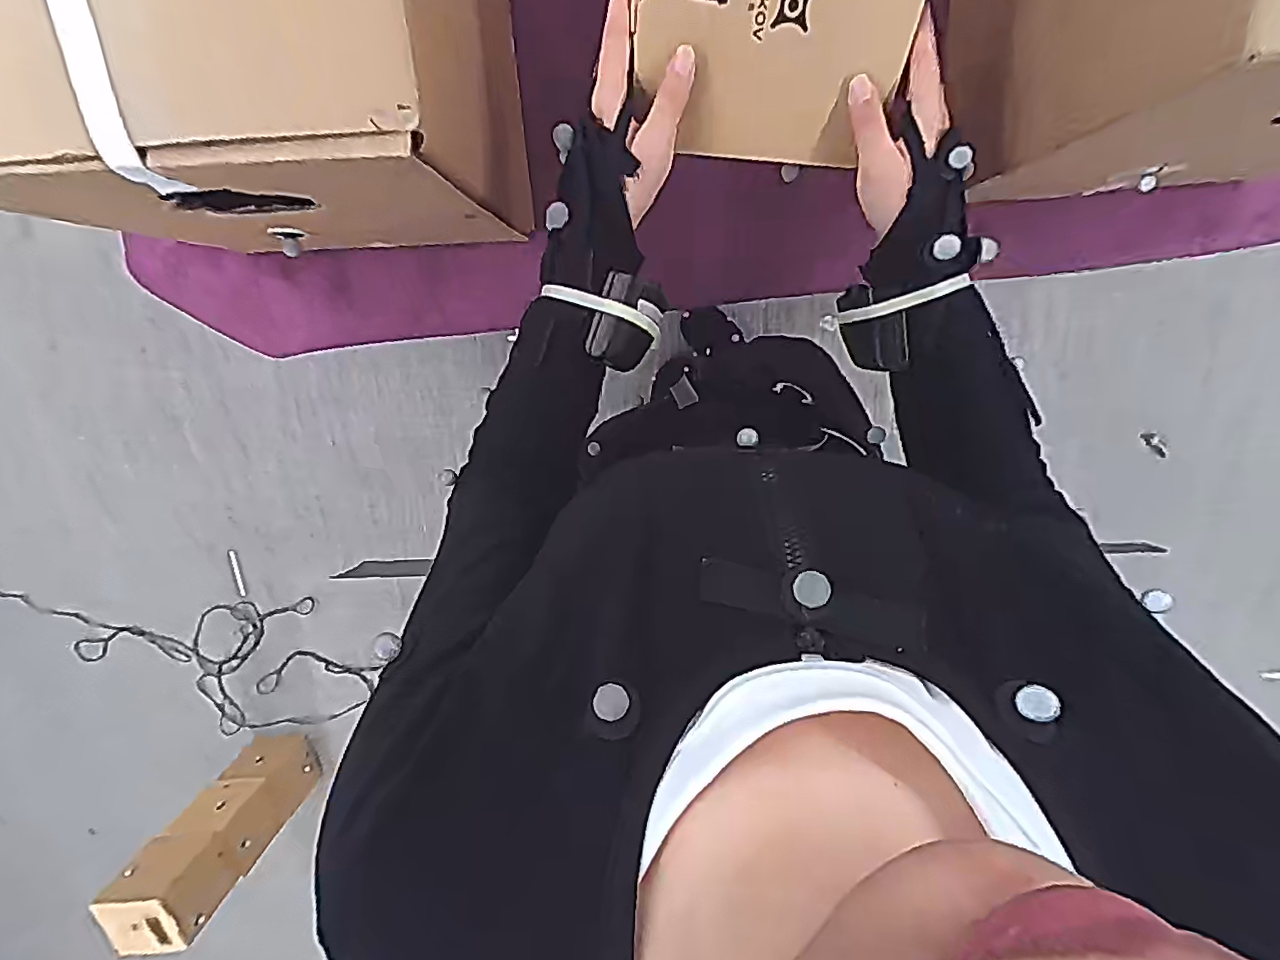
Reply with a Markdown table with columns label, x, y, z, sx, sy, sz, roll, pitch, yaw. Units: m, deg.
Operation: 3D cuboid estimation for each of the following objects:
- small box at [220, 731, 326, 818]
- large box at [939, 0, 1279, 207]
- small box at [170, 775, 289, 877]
| label | x | y | z | sx | sy | sz | roll | pitch | yaw |
| --- | --- | --- | --- | --- | --- | --- | --- | --- | --- |
| small box | -1.095 | 0.887 | 1.626 | 0.179 | 0.176 | 0.168 | -9 | 107 | 4 |
| large box | 0.424 | -0.437 | 0.342 | 0.320 | 0.320 | 0.408 | -3 | 105 | 3 |
| small box | -1.103 | 0.930 | 1.470 | 0.168 | 0.176 | 0.179 | -7 | 107 | 4 |
